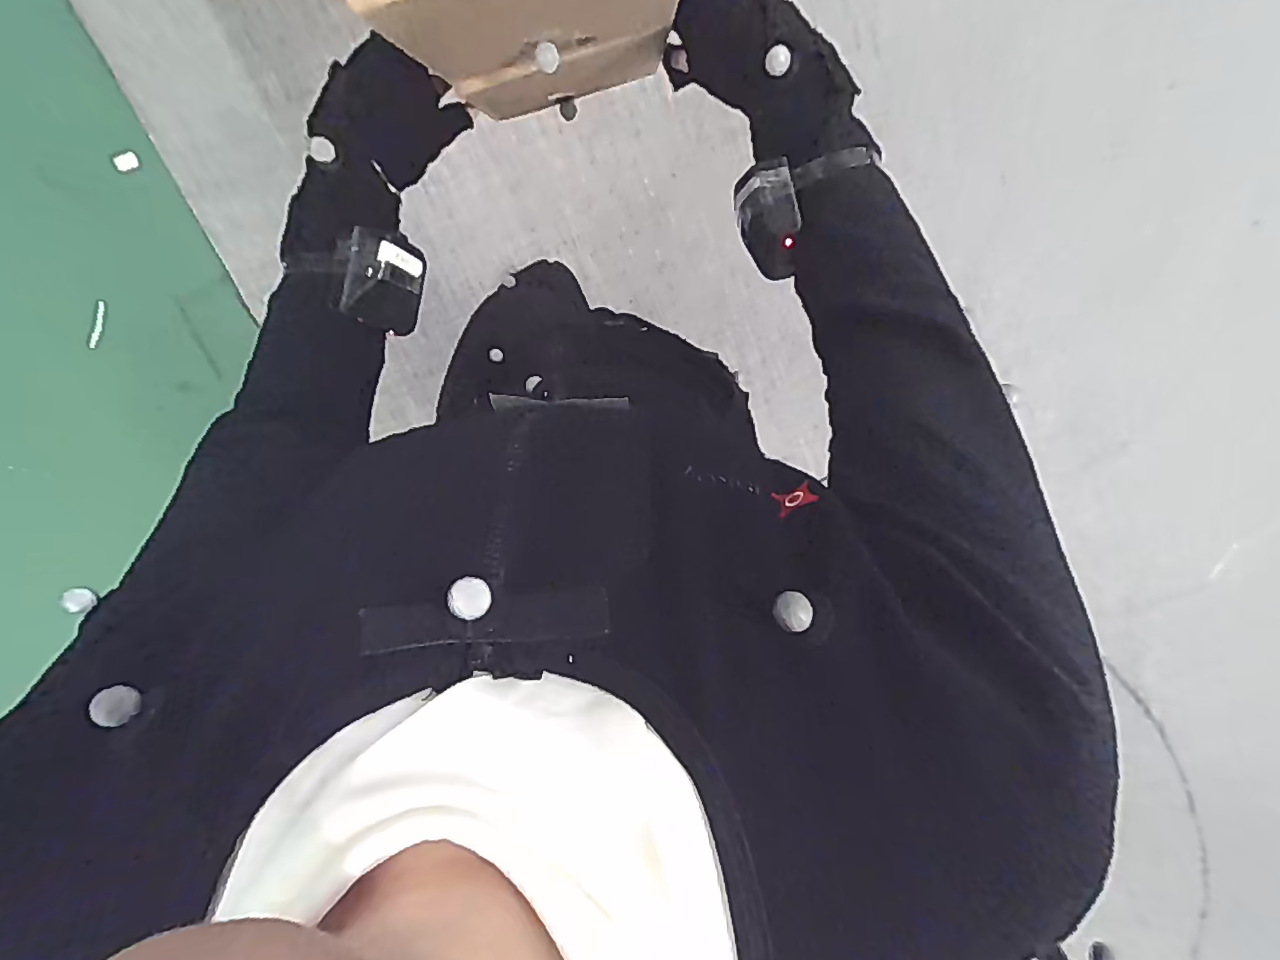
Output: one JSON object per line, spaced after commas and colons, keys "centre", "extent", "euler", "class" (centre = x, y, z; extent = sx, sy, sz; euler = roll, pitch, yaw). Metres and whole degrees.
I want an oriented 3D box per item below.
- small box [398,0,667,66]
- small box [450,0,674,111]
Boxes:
{"centre": [-0.073, -0.350, 0.273], "extent": [0.168, 0.176, 0.179], "euler": [-11, 117, 5], "class": "small box"}
{"centre": [-0.078, -0.421, 0.422], "extent": [0.168, 0.176, 0.179], "euler": [-14, 118, 7], "class": "small box"}
